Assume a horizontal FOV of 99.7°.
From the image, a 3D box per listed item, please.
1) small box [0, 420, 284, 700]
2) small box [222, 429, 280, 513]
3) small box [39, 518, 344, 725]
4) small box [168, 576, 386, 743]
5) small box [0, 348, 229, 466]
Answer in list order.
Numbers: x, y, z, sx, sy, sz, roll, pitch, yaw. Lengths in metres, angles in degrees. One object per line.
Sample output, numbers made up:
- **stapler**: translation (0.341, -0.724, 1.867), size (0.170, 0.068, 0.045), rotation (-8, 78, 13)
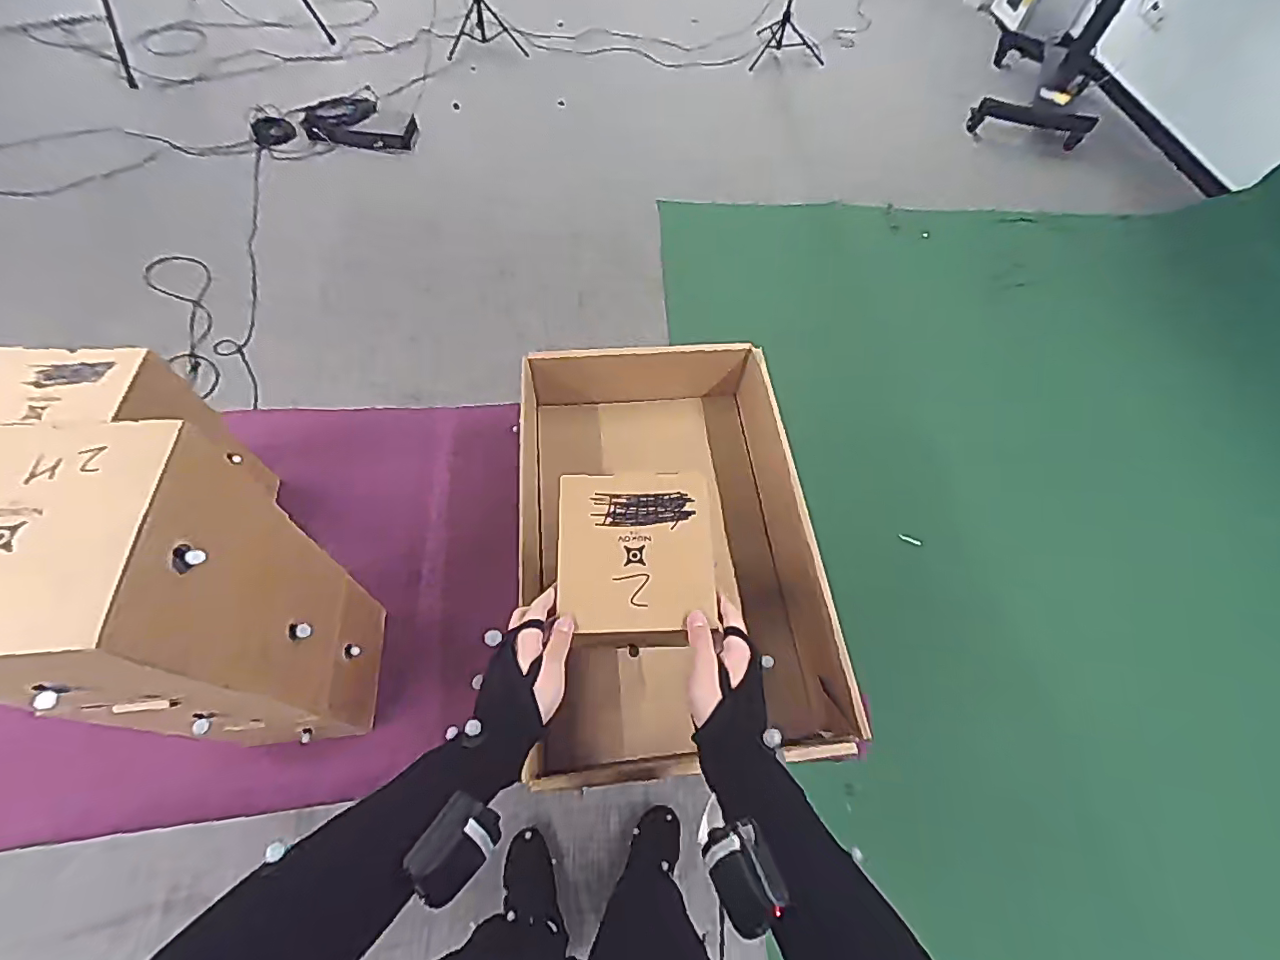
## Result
- **small box**: translation (-0.421, 0.071, 0.430), size (0.168, 0.176, 0.179), rotation (-1, 59, -7)
- **small box**: translation (-0.674, 0.046, 0.805), size (0.168, 0.176, 0.179), rotation (-4, 60, -7)
- **small box**: translation (-0.439, 0.156, 0.572), size (0.168, 0.176, 0.179), rotation (-2, 60, -8)
- **small box**: translation (-0.452, 0.241, 0.710), size (0.168, 0.176, 0.179), rotation (-2, 59, -7)
- **small box**: translation (-0.656, -0.039, 0.665), size (0.168, 0.176, 0.179), rotation (-1, 61, -5)
